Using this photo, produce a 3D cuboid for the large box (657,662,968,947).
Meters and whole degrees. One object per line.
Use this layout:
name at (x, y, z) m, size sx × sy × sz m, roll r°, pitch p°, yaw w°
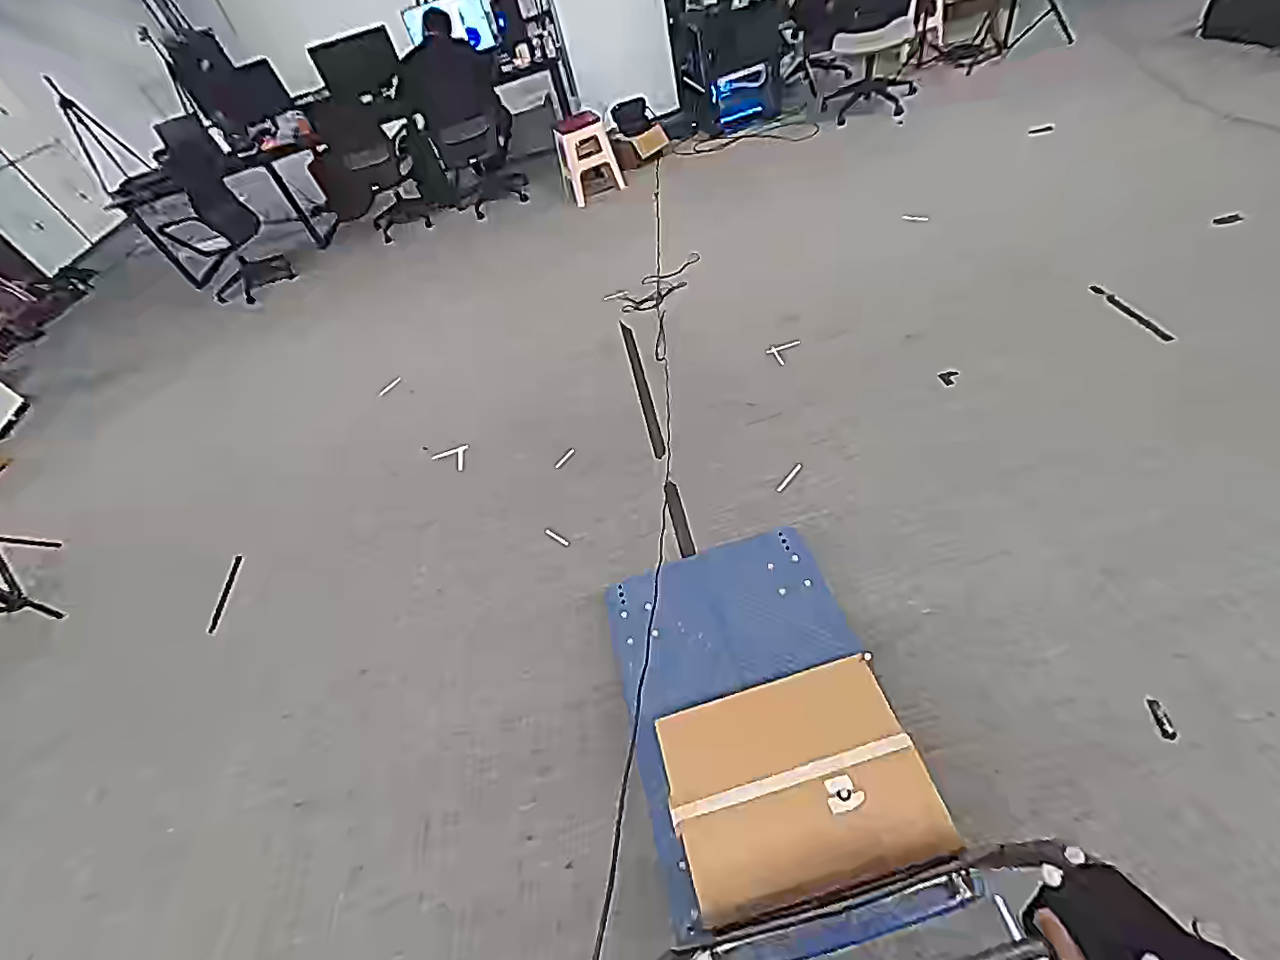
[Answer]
large box at (0.282, 0.593, 0.983) m, size 0.408 × 0.320 × 0.320 m, roll -18°, pitch 49°, yaw 0°
